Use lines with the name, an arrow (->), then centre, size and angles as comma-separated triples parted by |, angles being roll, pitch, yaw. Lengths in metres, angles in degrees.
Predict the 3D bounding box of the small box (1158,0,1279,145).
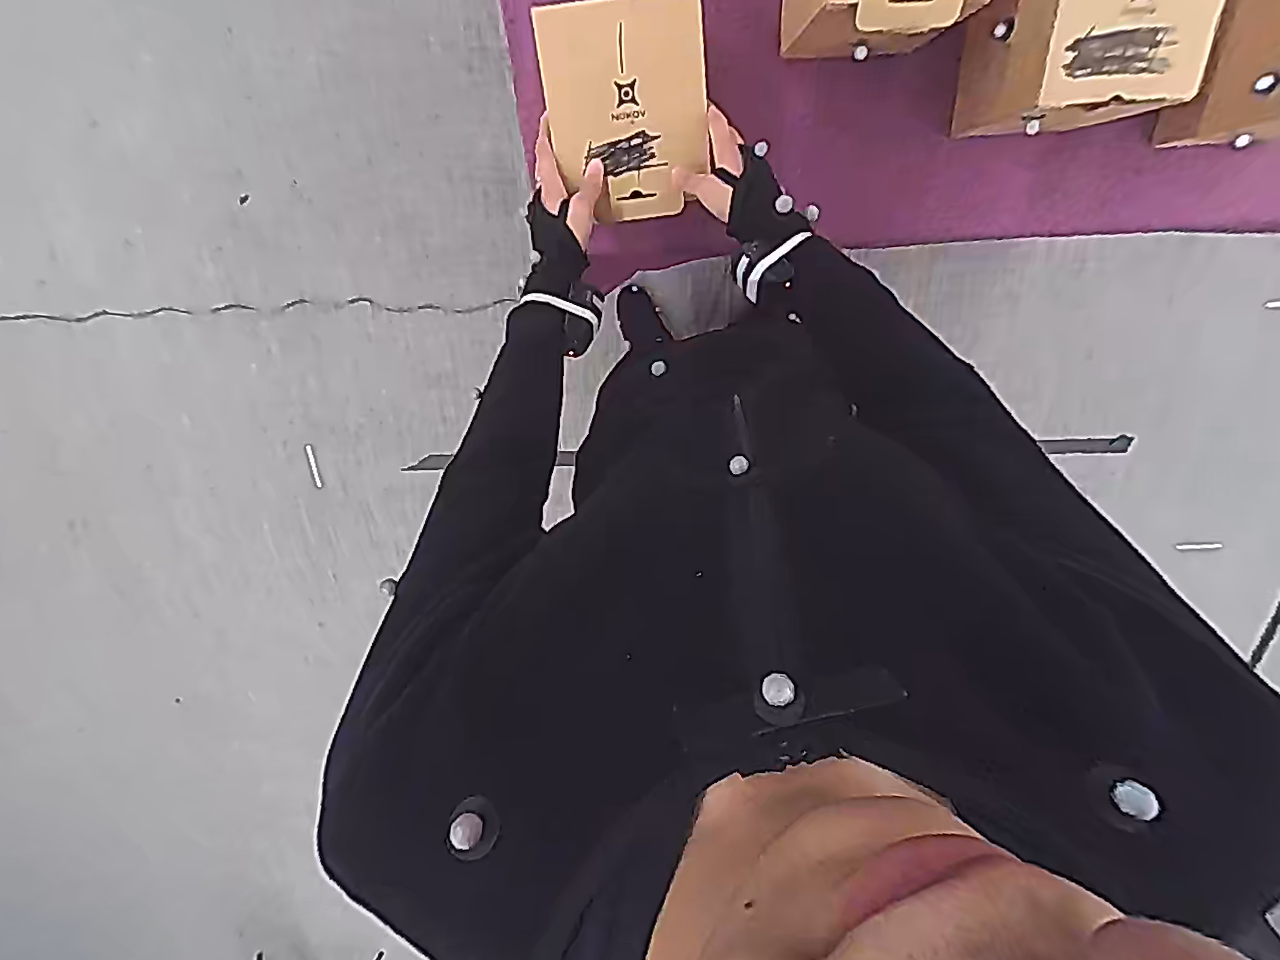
small box -> 0.753, -0.498, 0.610 | 0.168, 0.176, 0.179 | -5, 114, 0

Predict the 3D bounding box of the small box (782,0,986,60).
small box -> 0.252, -0.571, 0.561 | 0.168, 0.176, 0.179 | -3, 114, 0

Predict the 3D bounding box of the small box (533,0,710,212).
small box -> -0.015, -0.414, 0.622 | 0.168, 0.176, 0.179 | -7, 113, 1
